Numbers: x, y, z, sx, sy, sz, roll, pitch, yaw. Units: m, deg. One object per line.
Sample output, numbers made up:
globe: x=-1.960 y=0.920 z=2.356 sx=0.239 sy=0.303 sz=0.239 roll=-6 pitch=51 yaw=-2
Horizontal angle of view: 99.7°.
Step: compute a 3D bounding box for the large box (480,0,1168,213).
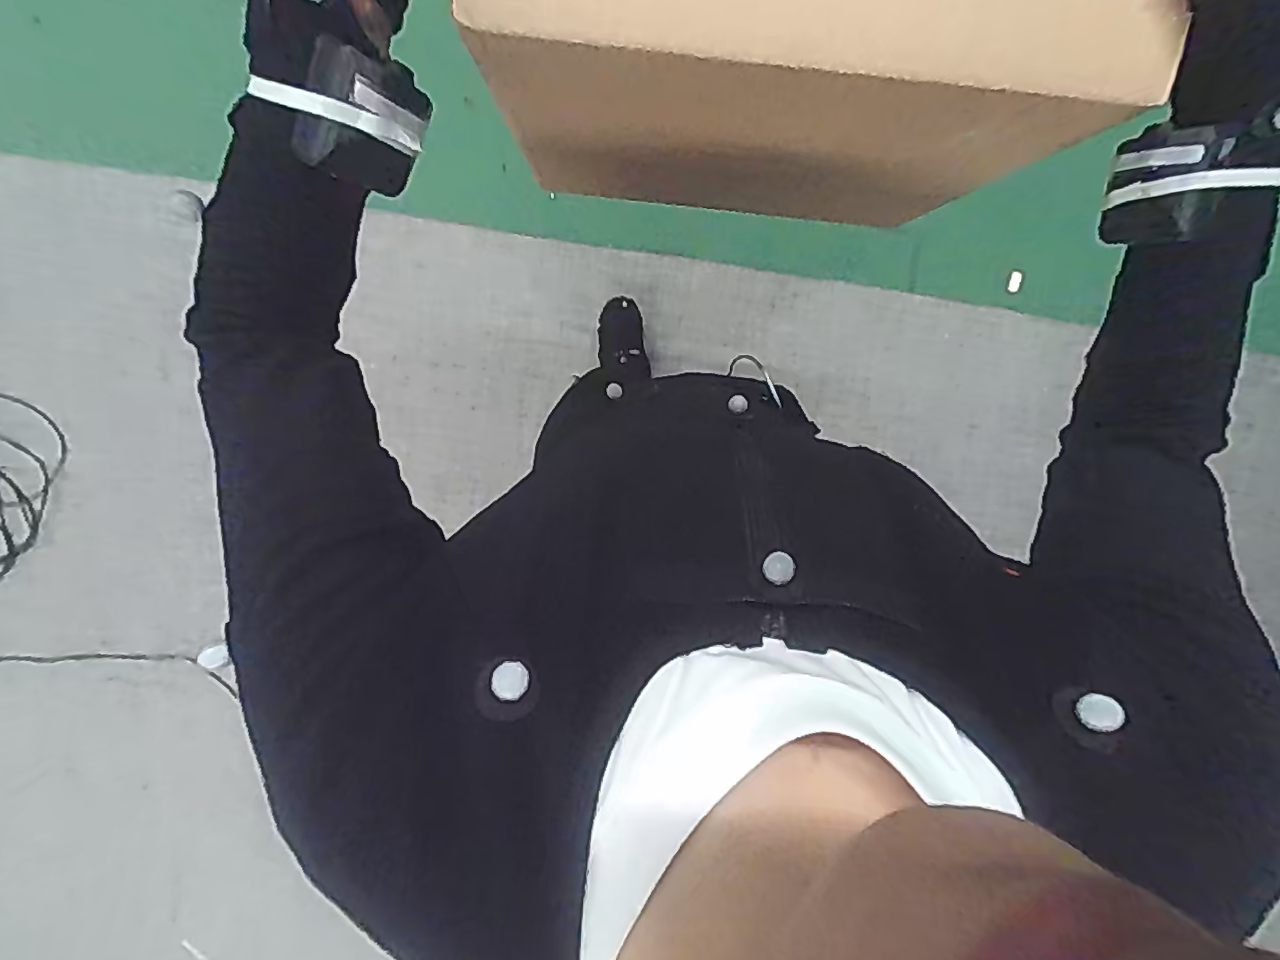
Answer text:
large box: x=0.108 y=-0.426 z=0.424 sx=0.408 sy=0.320 sz=0.320 roll=4 pitch=103 yaw=-4
